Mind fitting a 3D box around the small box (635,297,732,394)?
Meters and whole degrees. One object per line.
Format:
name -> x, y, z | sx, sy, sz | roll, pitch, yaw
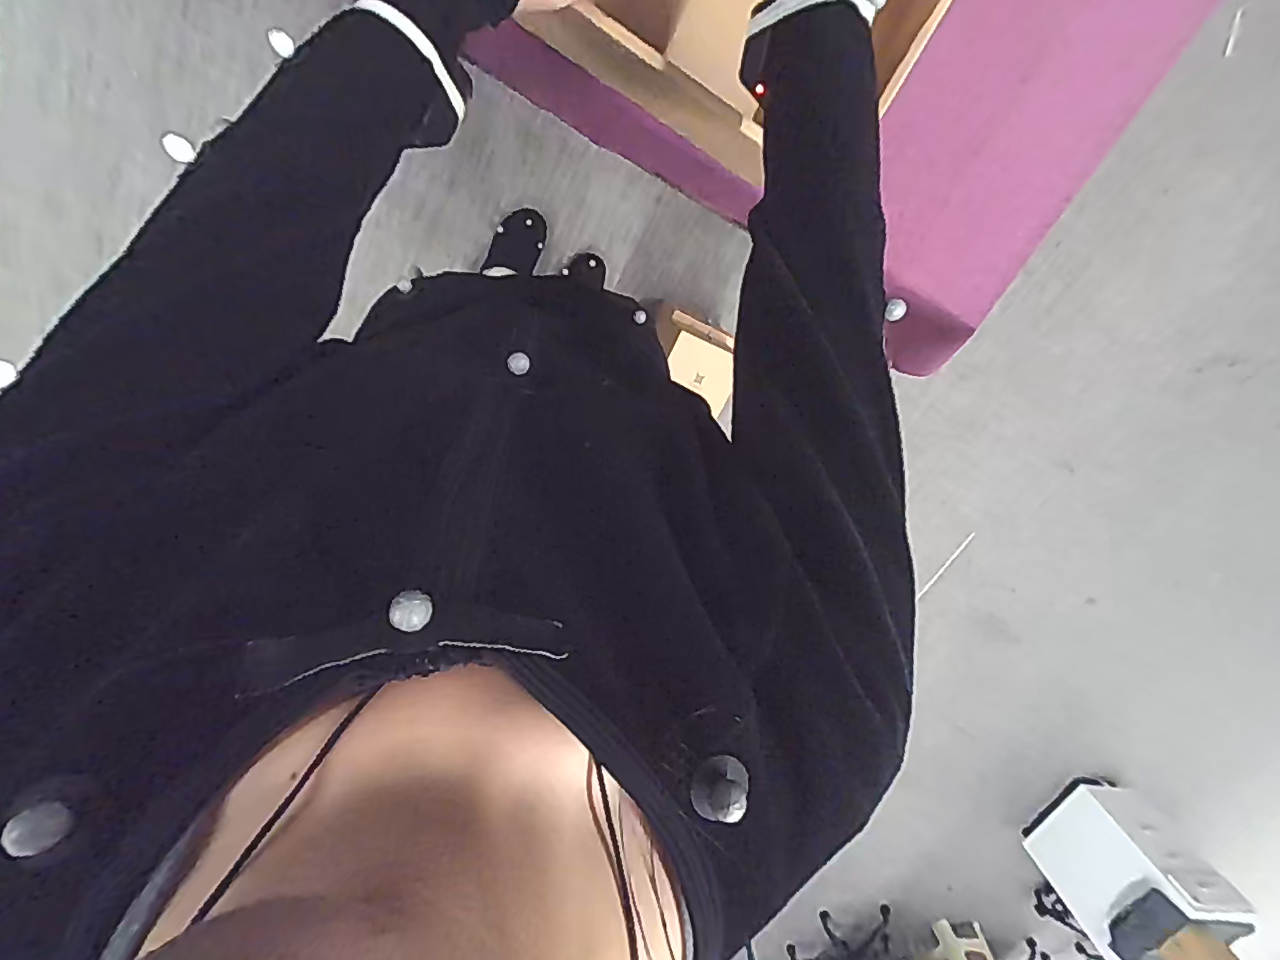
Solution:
small box -> 0.103, -0.349, 1.381 | 0.179, 0.176, 0.168 | 22, 112, -18
